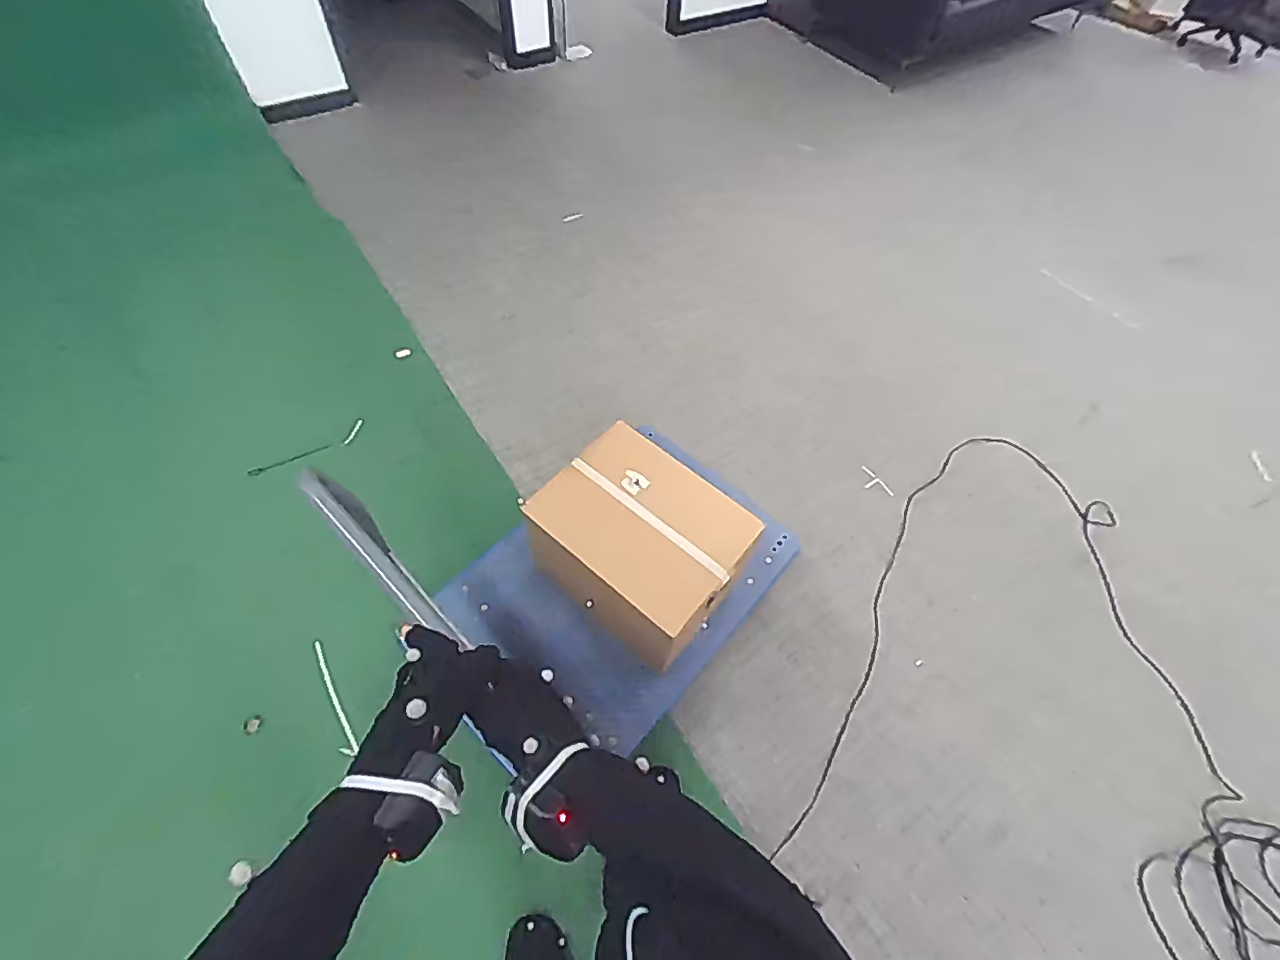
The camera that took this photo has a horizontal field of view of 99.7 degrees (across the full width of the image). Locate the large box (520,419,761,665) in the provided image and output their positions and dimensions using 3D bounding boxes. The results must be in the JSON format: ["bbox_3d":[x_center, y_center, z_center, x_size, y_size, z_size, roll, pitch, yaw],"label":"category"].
[{"bbox_3d":[-0.003,0.144,1.229,0.408,0.320,0.320,36,62,18],"label":"large box"}]
